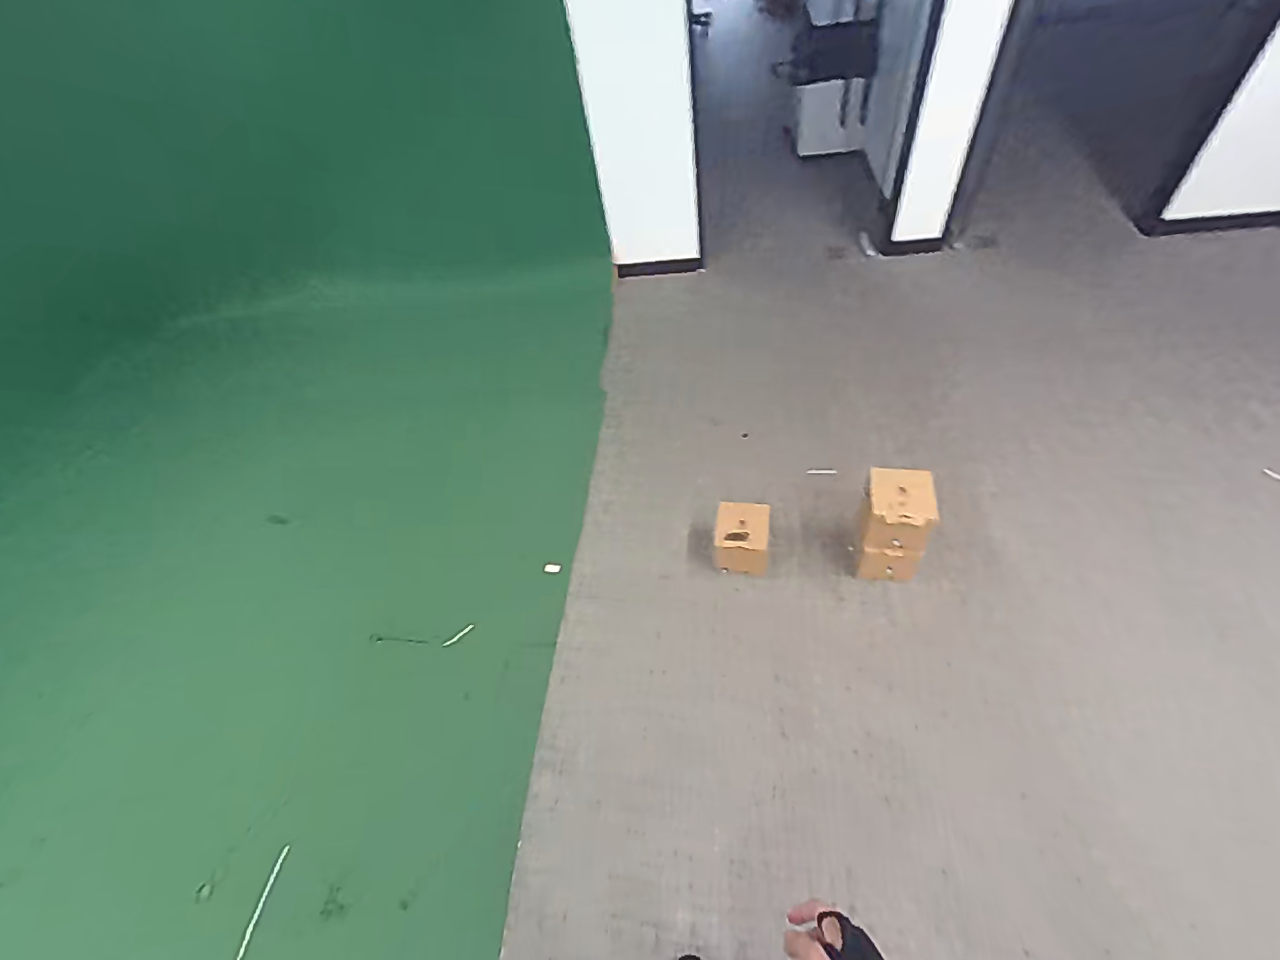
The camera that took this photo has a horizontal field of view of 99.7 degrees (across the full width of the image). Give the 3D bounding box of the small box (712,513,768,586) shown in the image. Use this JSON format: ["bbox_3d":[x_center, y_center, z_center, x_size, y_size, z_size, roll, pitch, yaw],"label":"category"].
[{"bbox_3d":[0.330,0.233,1.783,0.168,0.176,0.179,4,51,12],"label":"small box"}]

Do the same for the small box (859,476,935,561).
[{"bbox_3d":[0.738,0.112,1.574,0.168,0.176,0.179,4,52,14],"label":"small box"}]

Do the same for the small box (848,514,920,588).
[{"bbox_3d":[0.759,0.225,1.694,0.168,0.176,0.179,1,52,11],"label":"small box"}]
